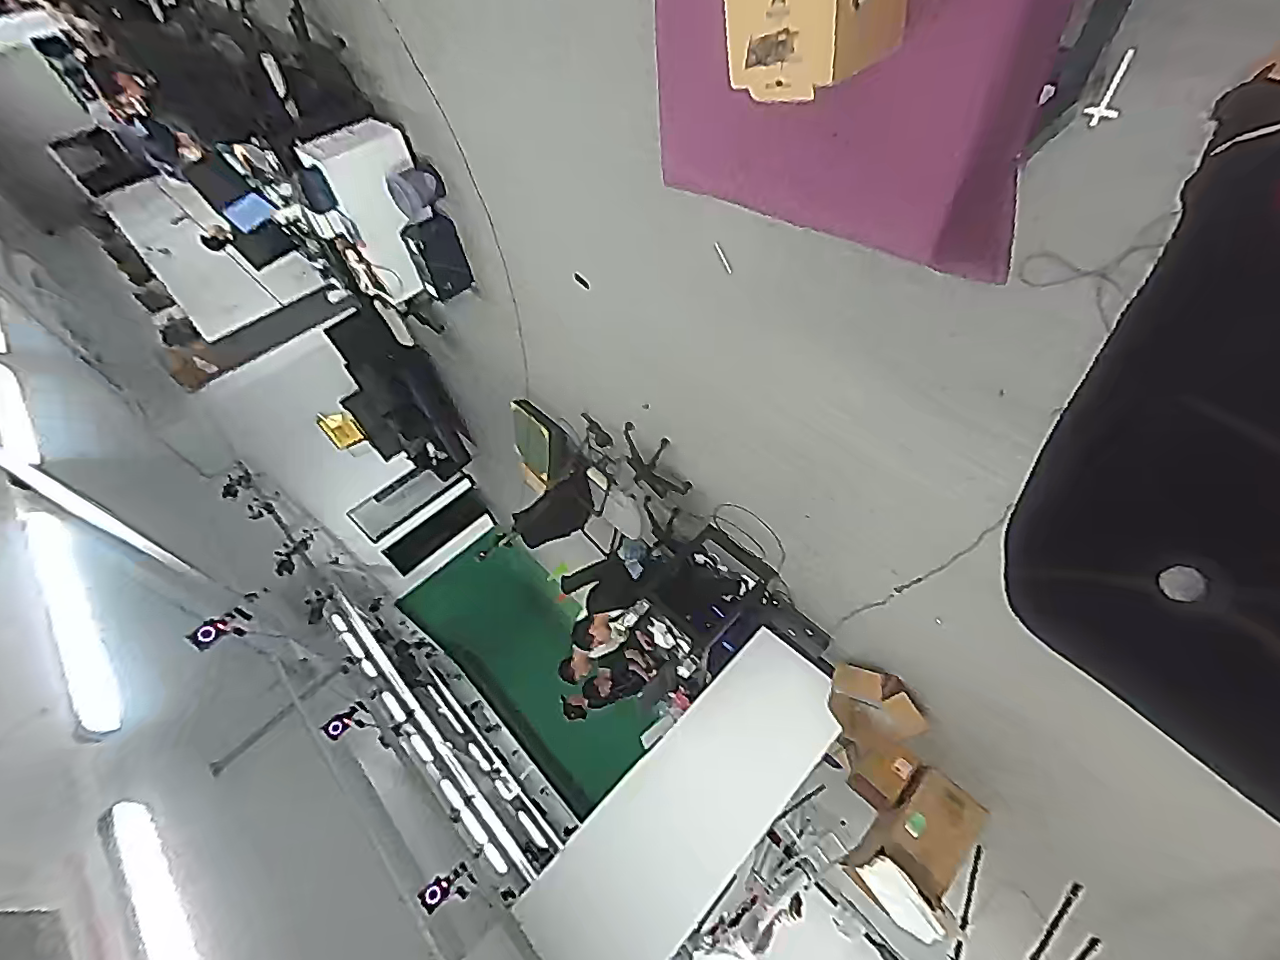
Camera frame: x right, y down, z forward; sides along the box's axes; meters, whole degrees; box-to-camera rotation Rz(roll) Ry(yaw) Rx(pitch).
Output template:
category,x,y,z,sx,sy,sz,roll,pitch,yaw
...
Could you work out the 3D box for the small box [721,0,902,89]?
category,x,y,z,sx,sy,sz,roll,pitch,yaw
small box,0.221,-0.631,0.691,0.168,0.176,0.179,31,151,37
